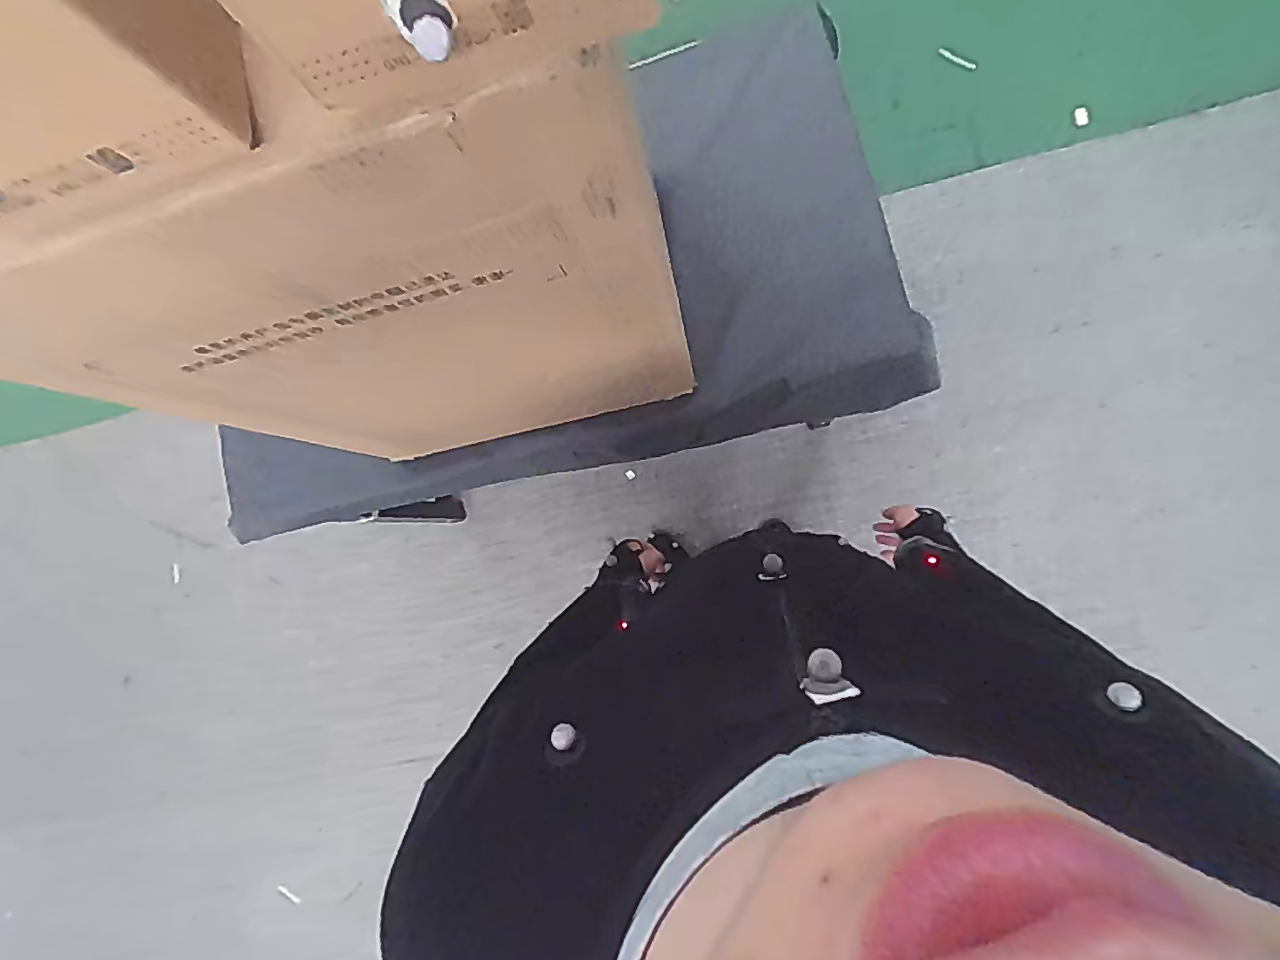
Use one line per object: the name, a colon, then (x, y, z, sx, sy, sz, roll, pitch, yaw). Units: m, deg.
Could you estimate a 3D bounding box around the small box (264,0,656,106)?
small box: (-0.094, -0.285, 0.186, 0.168, 0.176, 0.179, -11, 85, 9)
